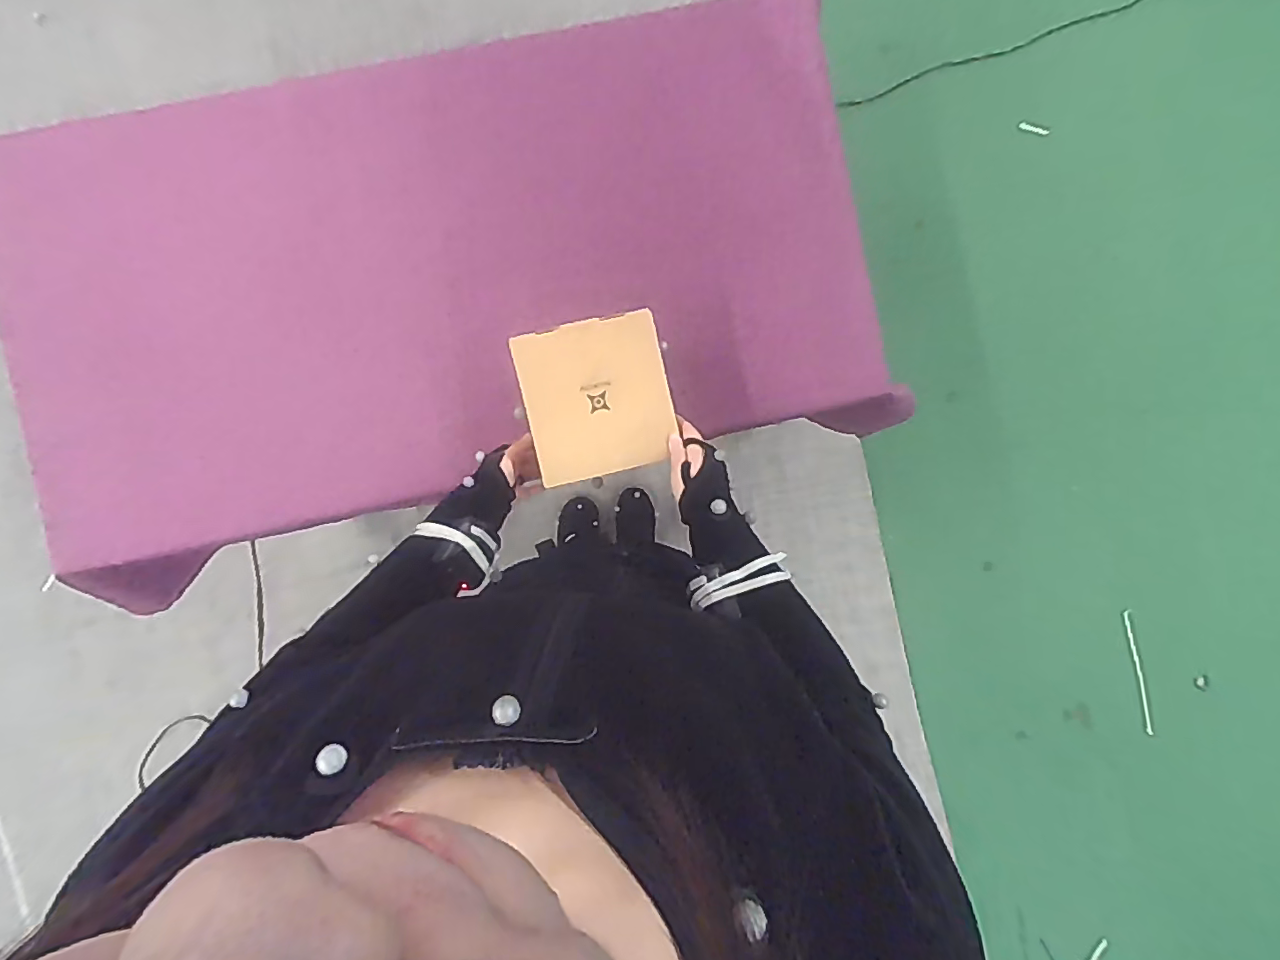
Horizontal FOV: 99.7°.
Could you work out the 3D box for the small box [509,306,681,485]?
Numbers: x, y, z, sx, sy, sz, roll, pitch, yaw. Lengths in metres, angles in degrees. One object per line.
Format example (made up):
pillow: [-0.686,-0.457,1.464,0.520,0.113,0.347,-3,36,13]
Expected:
small box: [-0.054,-0.098,0.690,0.168,0.176,0.179,-14,91,-4]
